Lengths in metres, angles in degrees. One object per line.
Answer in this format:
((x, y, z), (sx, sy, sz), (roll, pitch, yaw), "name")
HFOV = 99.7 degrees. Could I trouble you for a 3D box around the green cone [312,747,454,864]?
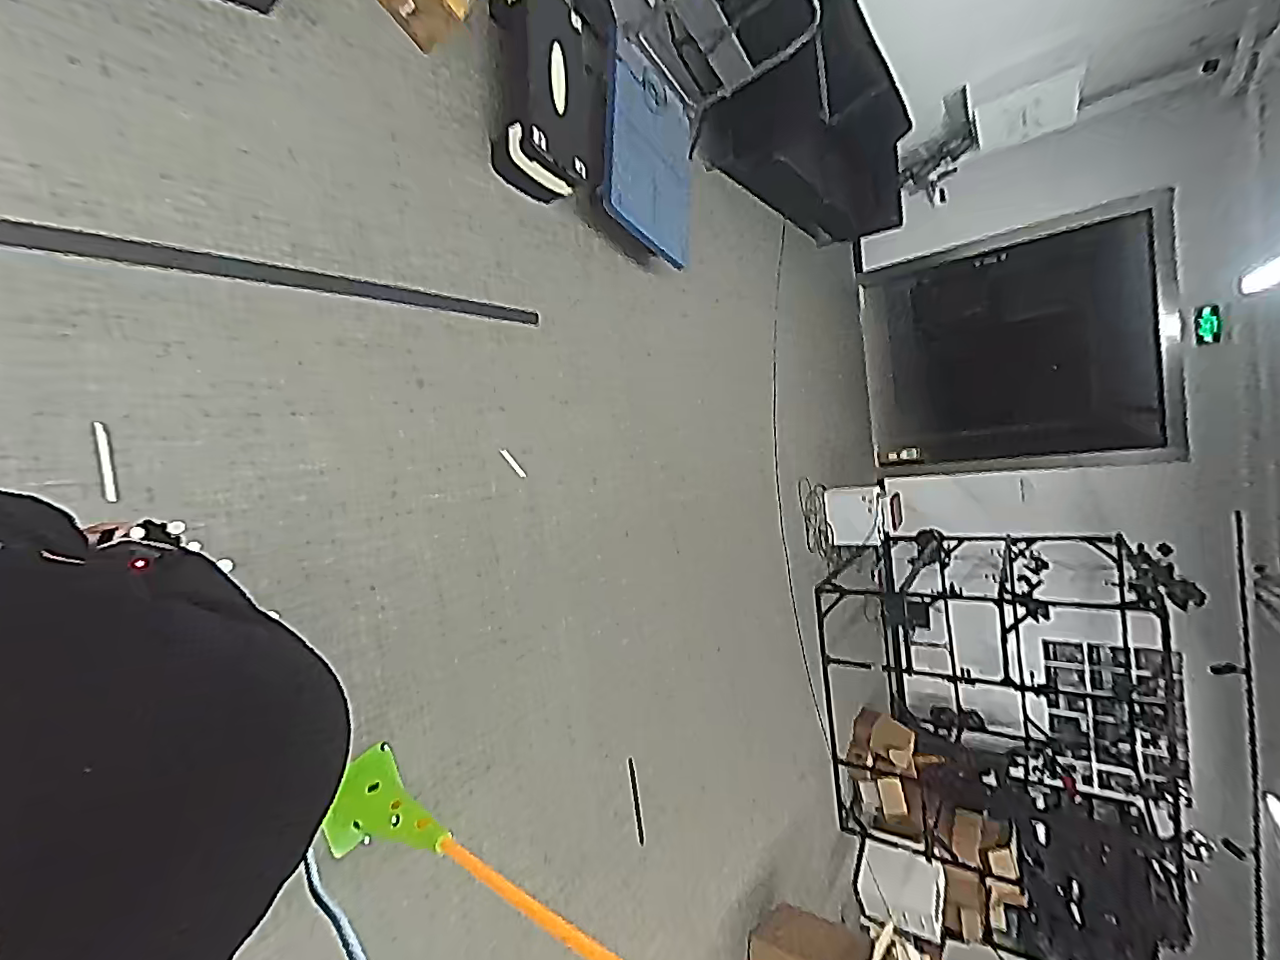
((-0.566, 0.807, 1.263), (0.200, 0.368, 0.202), (-28, 110, -52), "green cone")
